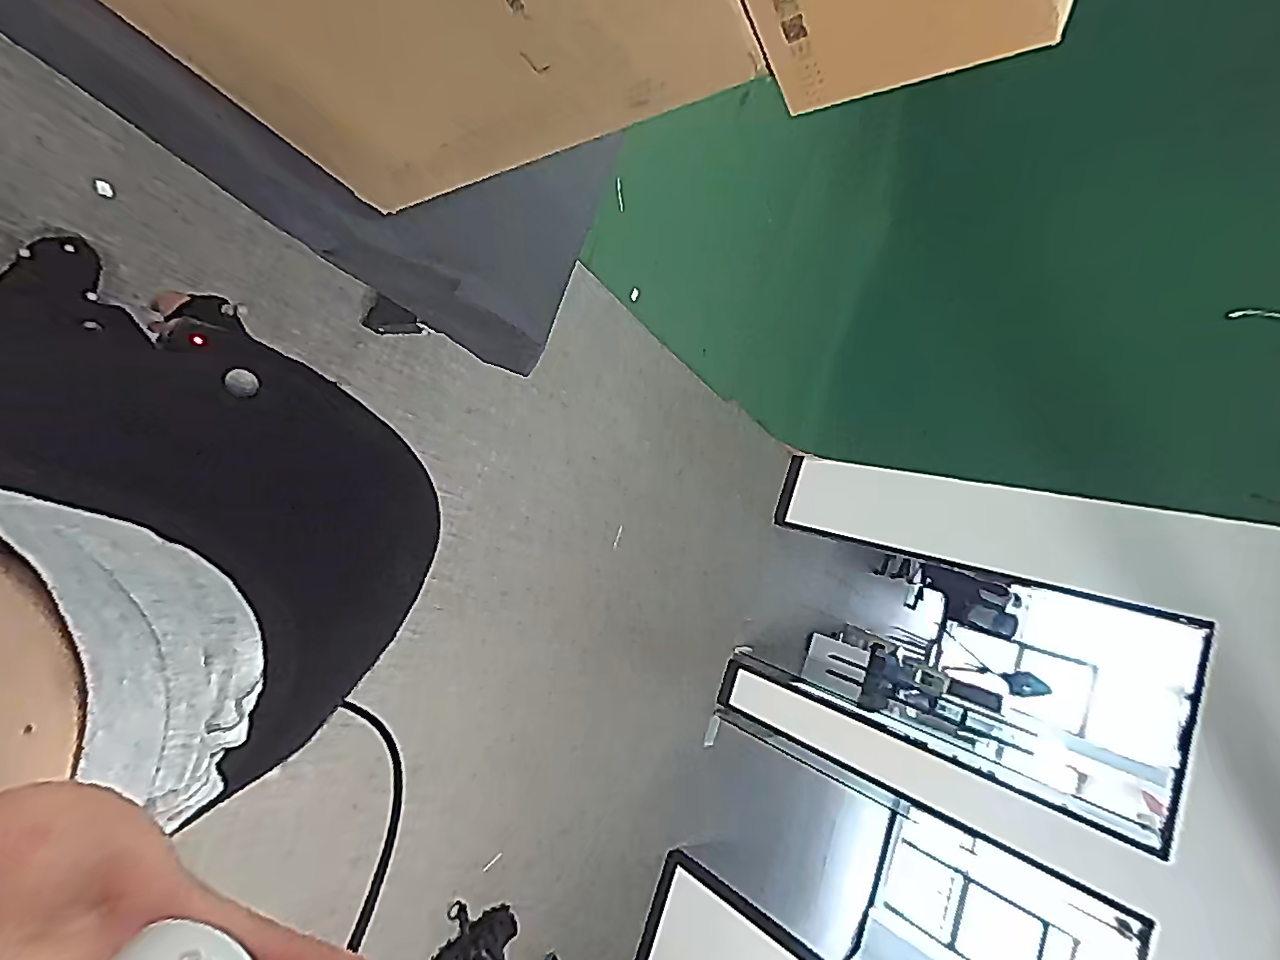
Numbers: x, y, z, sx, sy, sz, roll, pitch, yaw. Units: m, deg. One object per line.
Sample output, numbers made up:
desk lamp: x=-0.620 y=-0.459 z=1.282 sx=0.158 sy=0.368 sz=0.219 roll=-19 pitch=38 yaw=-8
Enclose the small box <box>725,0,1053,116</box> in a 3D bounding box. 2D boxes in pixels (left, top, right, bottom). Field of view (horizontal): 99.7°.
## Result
small box: x=0.154 y=-0.369 z=0.322 sx=0.168 sy=0.176 sz=0.179 roll=31 pitch=77 yaw=-49
